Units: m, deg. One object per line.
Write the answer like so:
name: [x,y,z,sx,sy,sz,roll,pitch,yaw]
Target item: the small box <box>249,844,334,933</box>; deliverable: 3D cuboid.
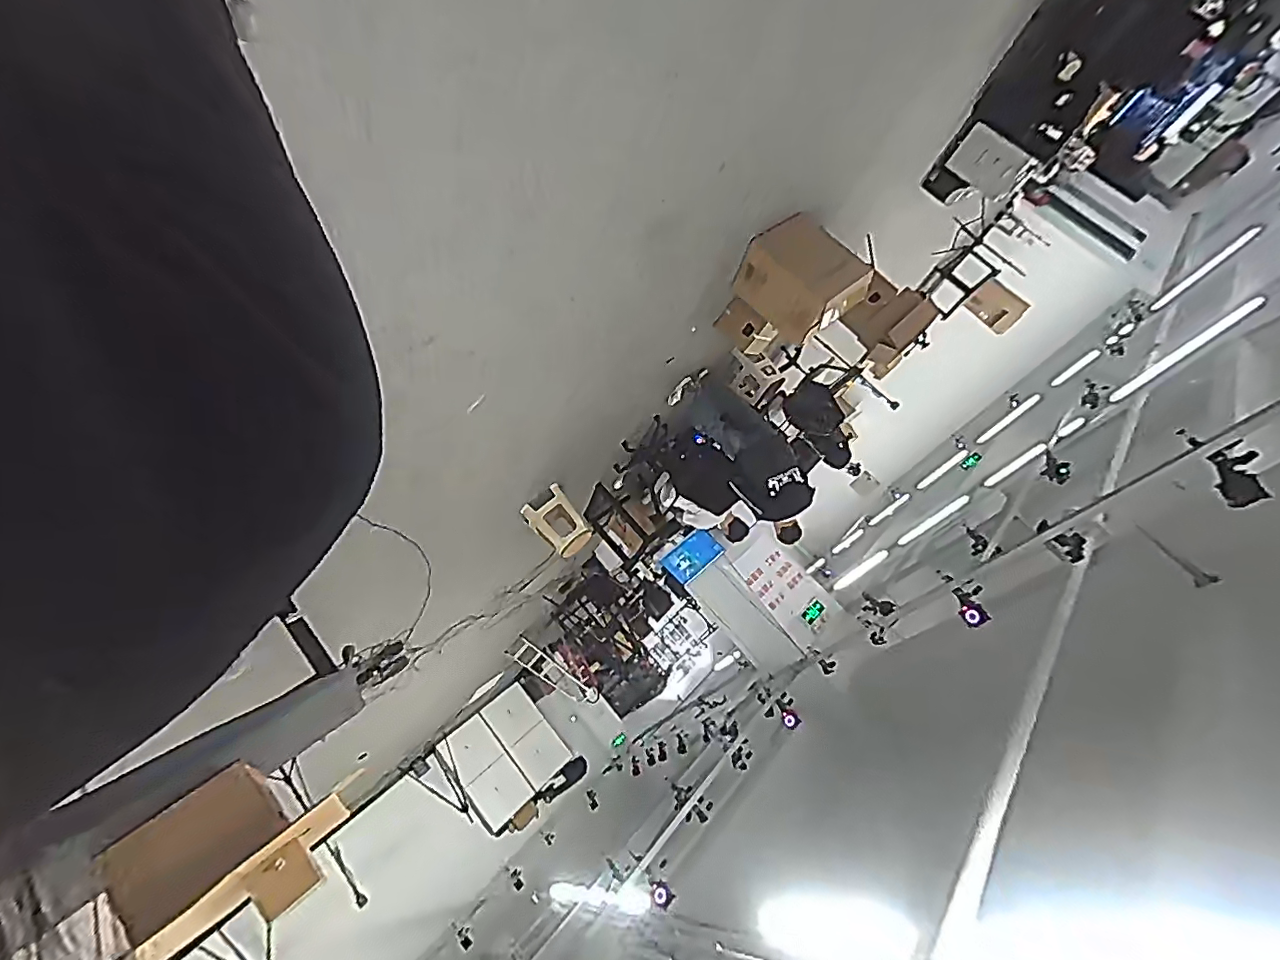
small box: [-1.135,1.331,1.768,0.168,0.176,0.179,-34,161,-37]
